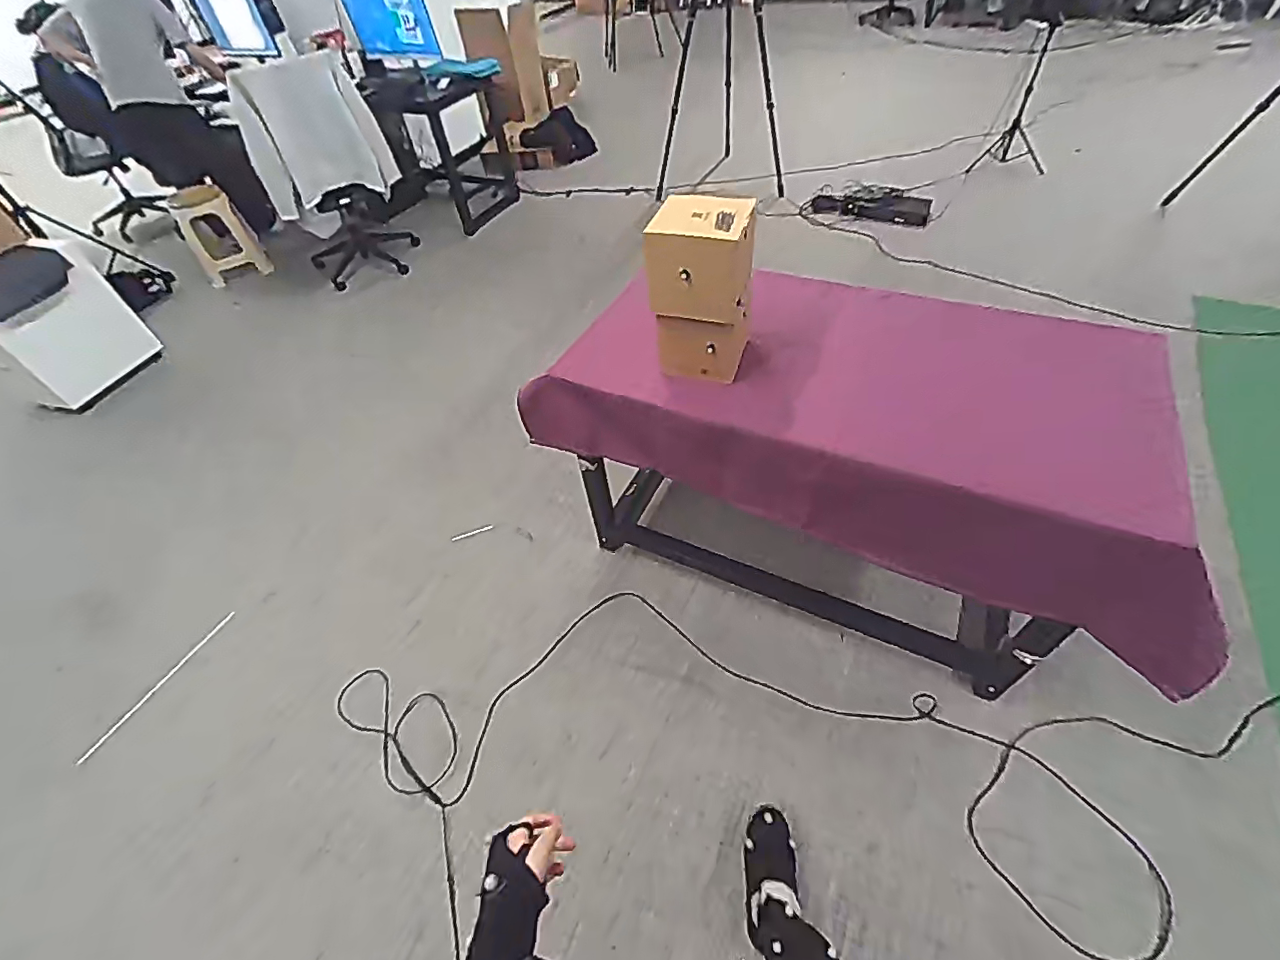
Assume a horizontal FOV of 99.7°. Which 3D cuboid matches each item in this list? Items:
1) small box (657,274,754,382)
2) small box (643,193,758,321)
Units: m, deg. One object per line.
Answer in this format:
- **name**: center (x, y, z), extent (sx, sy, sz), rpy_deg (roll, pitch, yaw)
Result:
- **small box**: center (0.145, -0.338, 1.183), extent (0.168, 0.176, 0.179), rpy_deg (13, 51, 16)
- **small box**: center (0.118, -0.428, 1.046), extent (0.179, 0.176, 0.168), rpy_deg (12, 52, 16)
